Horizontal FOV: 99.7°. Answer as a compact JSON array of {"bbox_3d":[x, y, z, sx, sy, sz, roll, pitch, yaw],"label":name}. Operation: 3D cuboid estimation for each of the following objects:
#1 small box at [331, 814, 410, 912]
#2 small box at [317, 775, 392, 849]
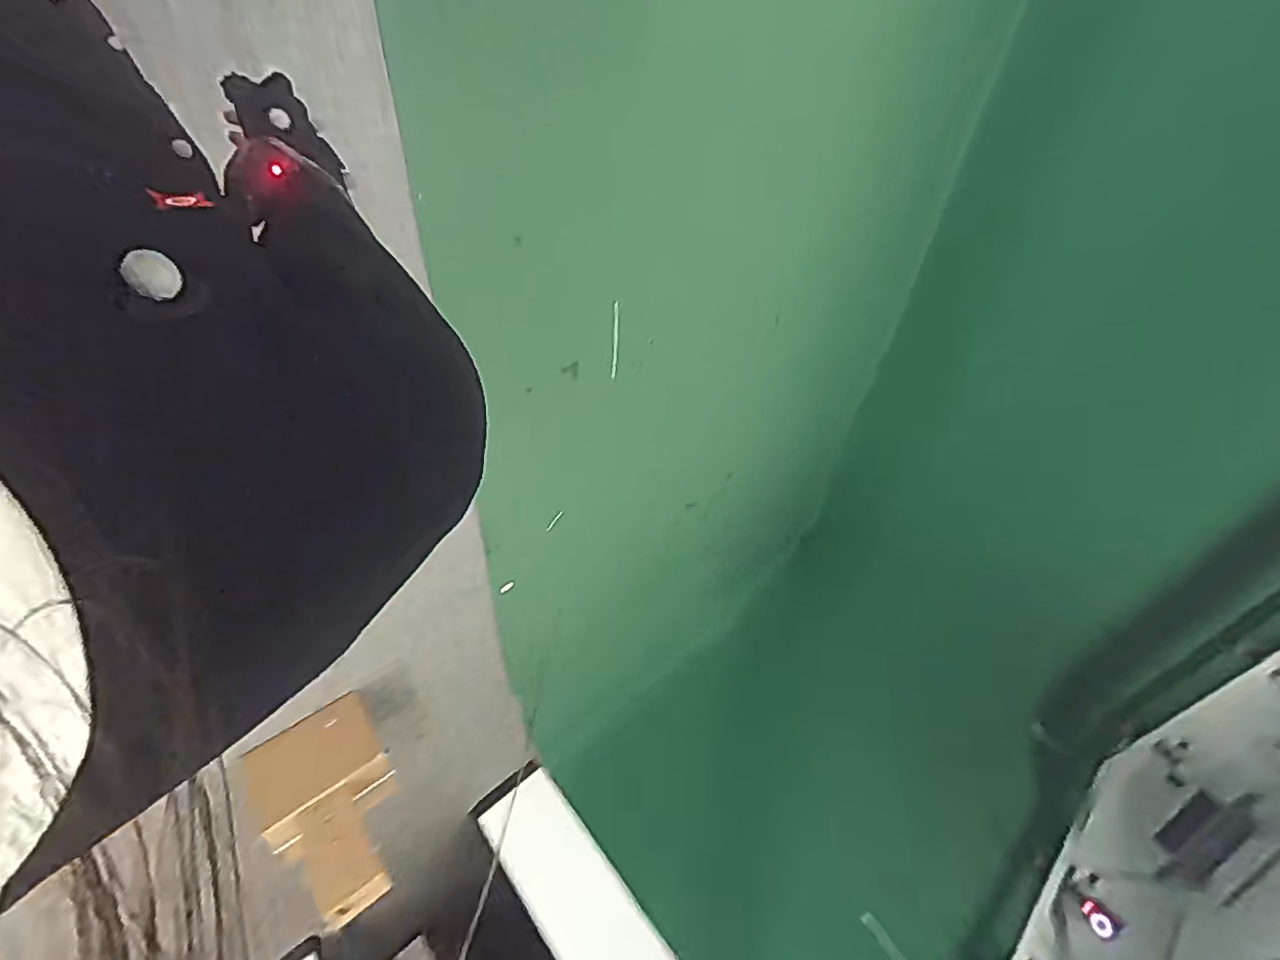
[{"bbox_3d":[-0.885,1.249,1.770,0.179,0.176,0.168,-27,140,-33],"label":"small box"},{"bbox_3d":[-0.986,1.162,1.867,0.168,0.176,0.179,-25,138,-33],"label":"small box"}]
